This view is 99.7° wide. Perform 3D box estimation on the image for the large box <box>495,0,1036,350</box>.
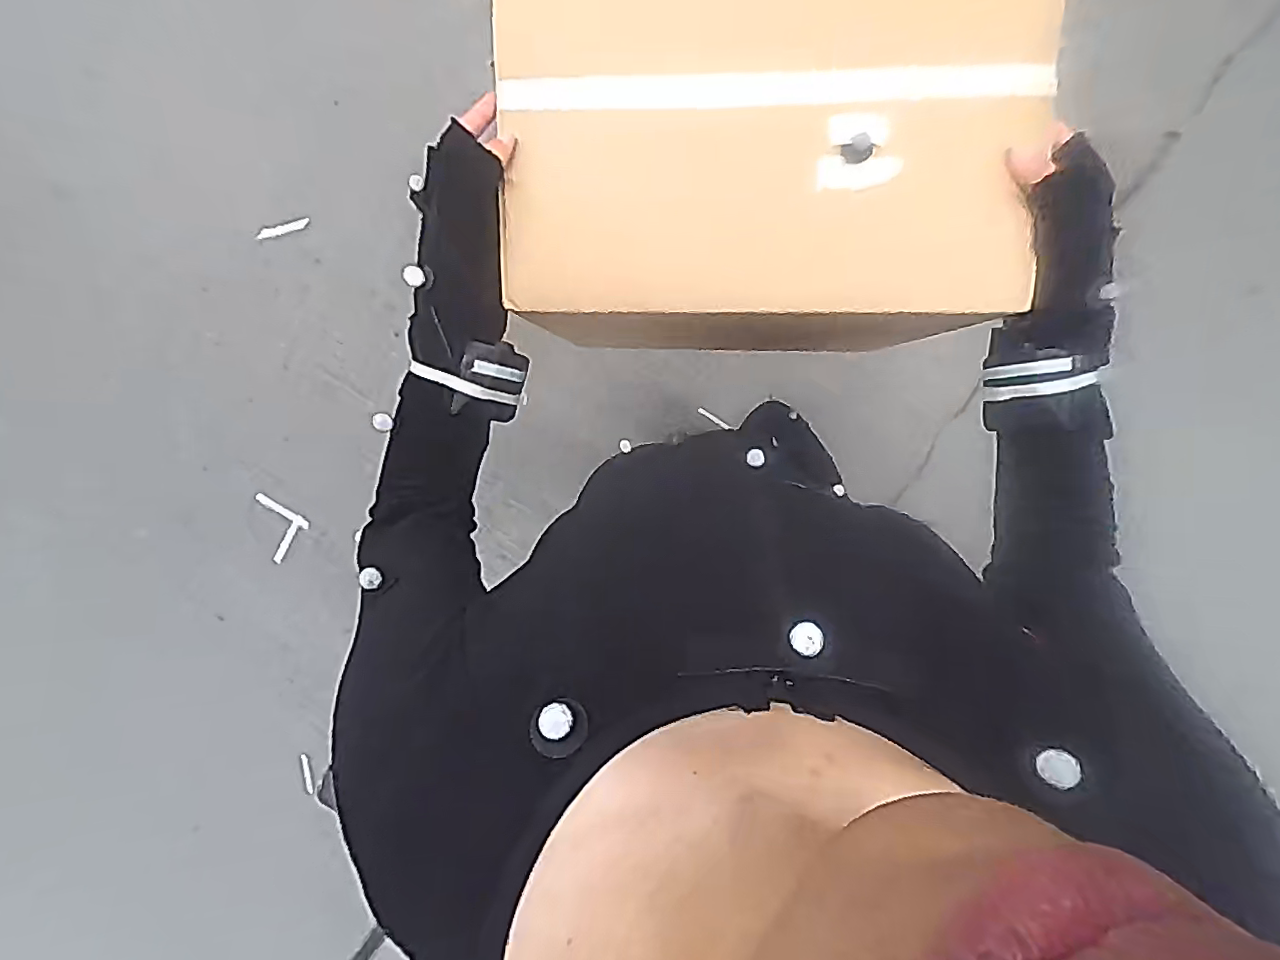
[{"bbox_3d":[0.095,-0.314,0.557,0.408,0.320,0.320,0,98,3],"label":"large box"}]
